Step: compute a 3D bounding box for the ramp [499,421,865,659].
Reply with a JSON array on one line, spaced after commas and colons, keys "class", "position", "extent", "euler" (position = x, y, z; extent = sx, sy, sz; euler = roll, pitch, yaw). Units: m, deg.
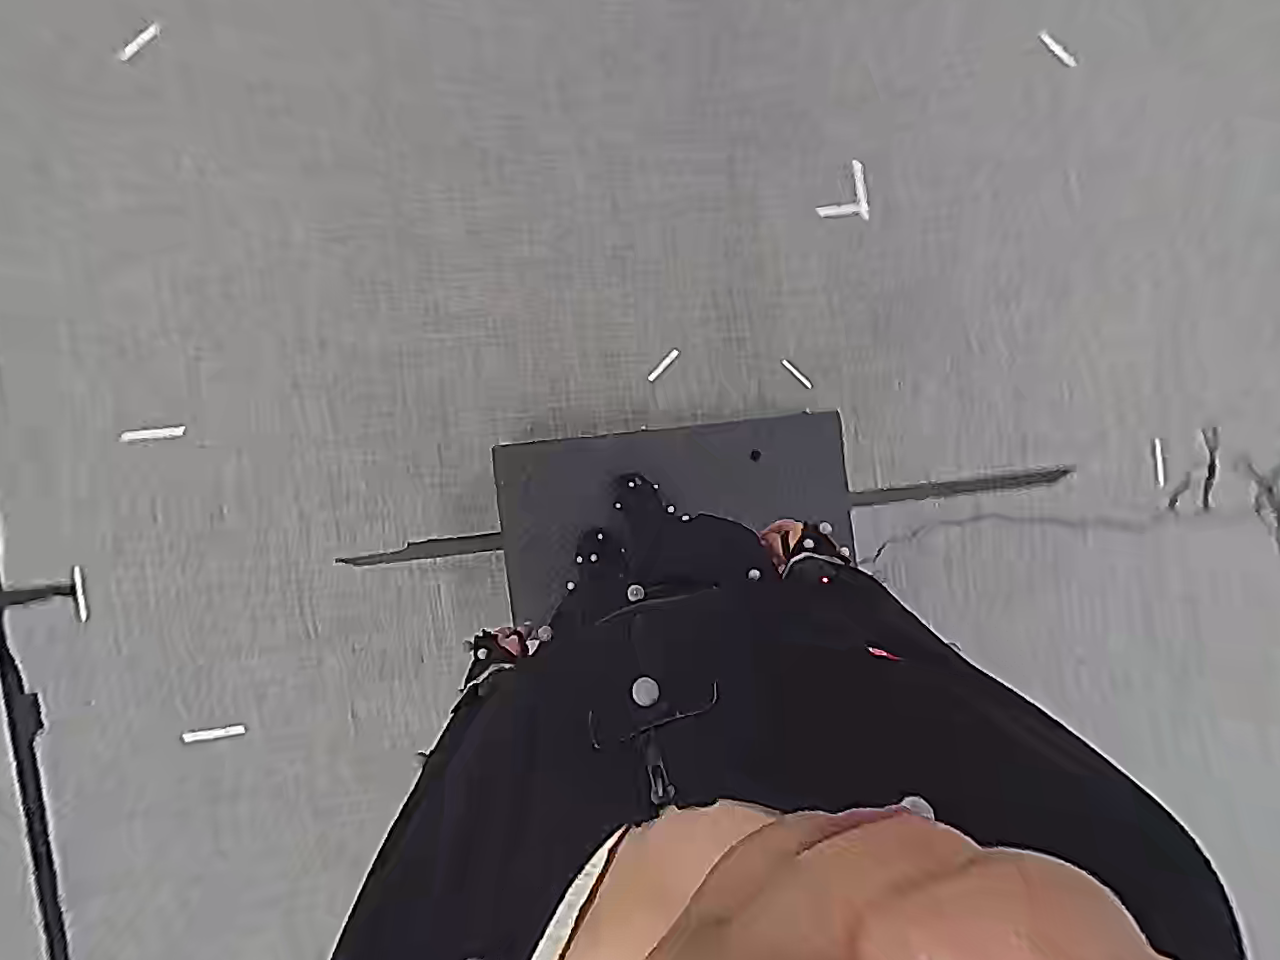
[{"class": "ramp", "position": [0.157, 0.128, 1.460], "extent": [0.991, 0.206, 0.509], "euler": [-10, 89, -6]}]
